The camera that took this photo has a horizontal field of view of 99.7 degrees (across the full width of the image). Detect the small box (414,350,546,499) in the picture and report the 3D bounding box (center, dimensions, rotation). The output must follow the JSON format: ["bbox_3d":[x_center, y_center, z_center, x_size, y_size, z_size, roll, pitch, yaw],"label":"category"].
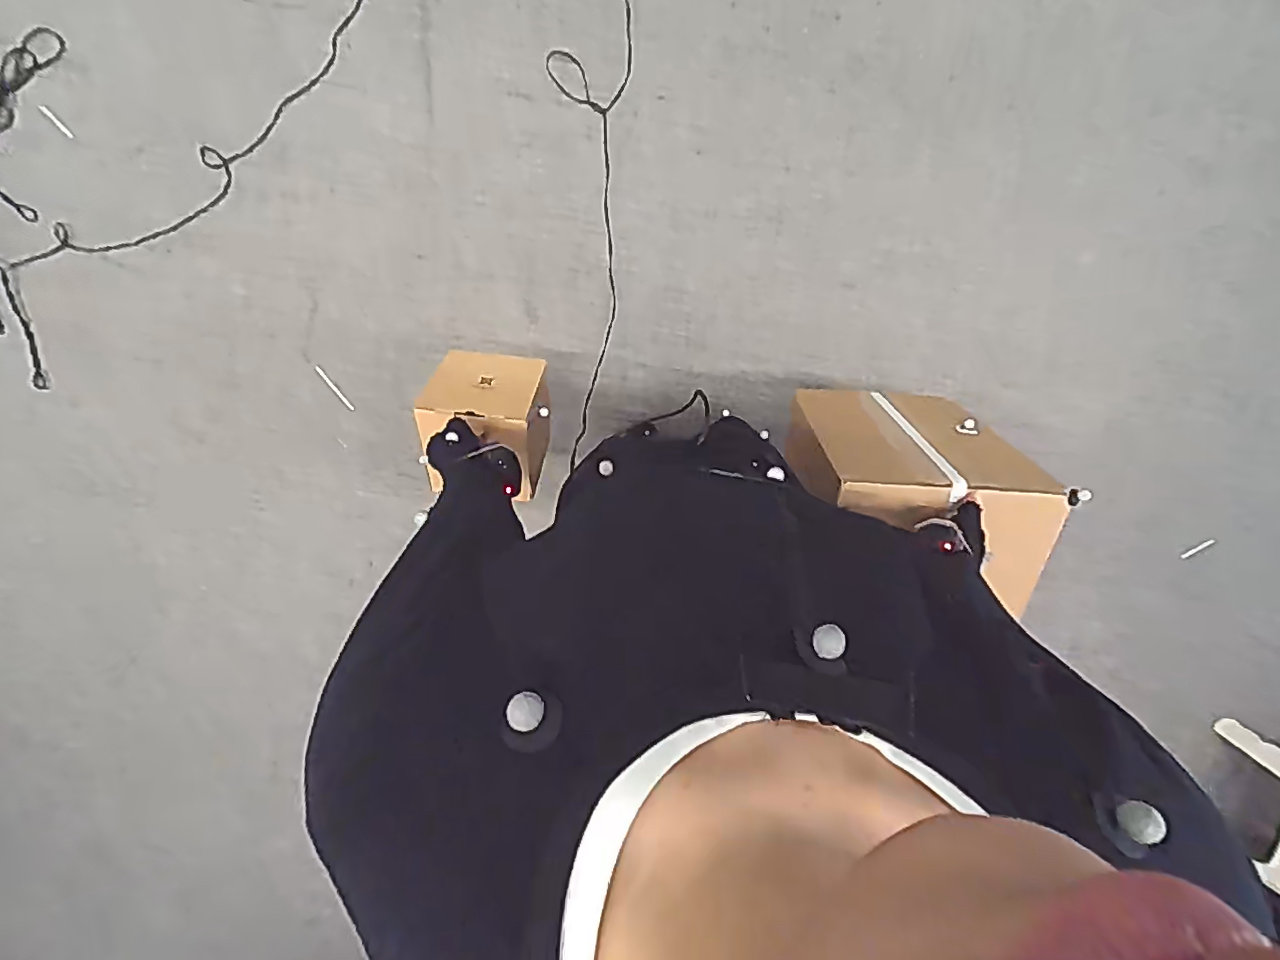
[{"bbox_3d":[-0.253,-0.093,0.902,0.168,0.179,0.176,6,133,-1],"label":"small box"}]
